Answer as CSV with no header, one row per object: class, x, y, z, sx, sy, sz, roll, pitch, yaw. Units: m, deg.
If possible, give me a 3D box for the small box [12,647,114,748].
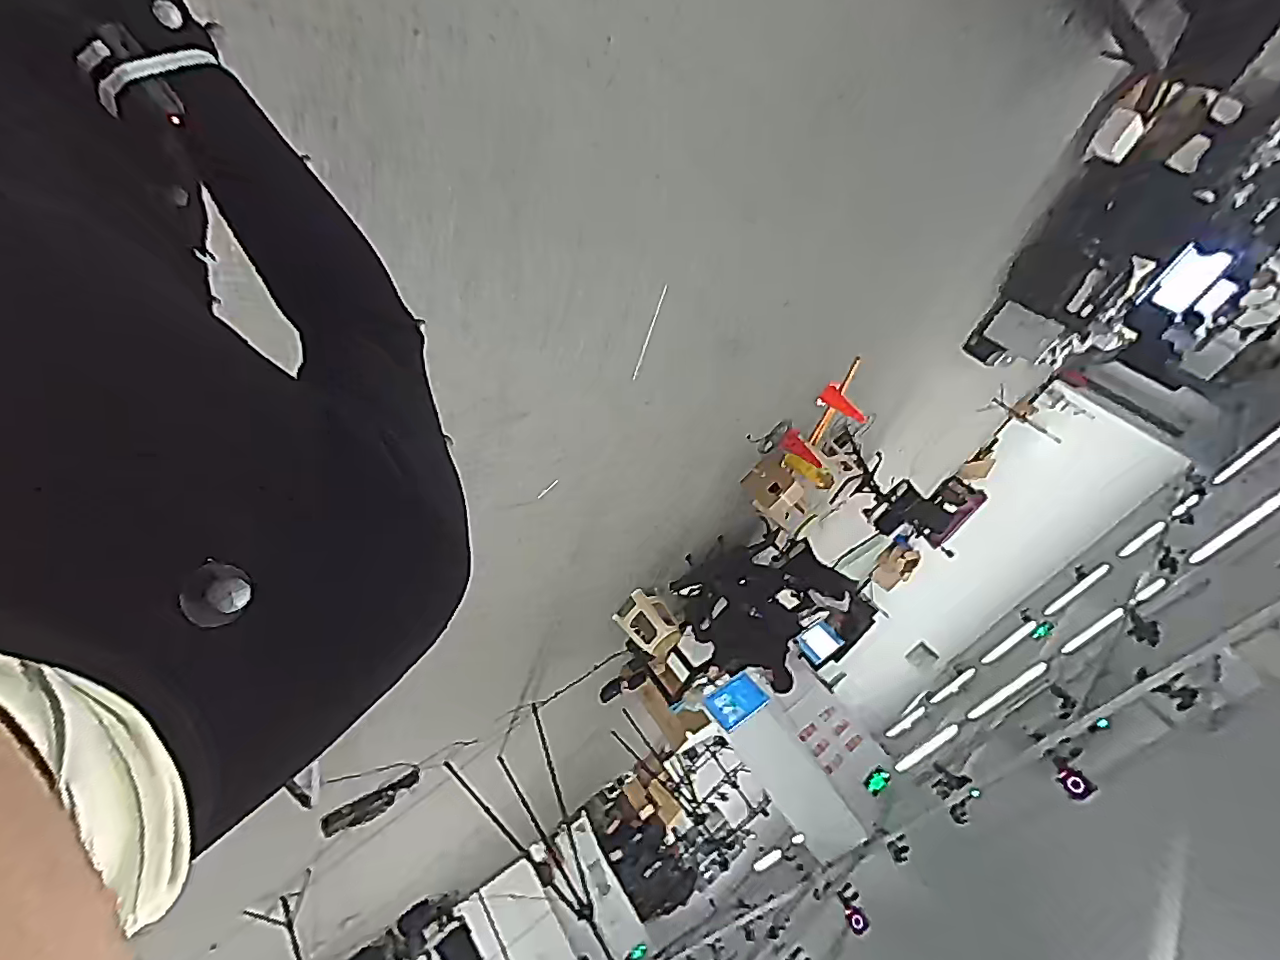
small box,-1.622,0.606,1.524,0.168,0.176,0.179,-15,140,-41
